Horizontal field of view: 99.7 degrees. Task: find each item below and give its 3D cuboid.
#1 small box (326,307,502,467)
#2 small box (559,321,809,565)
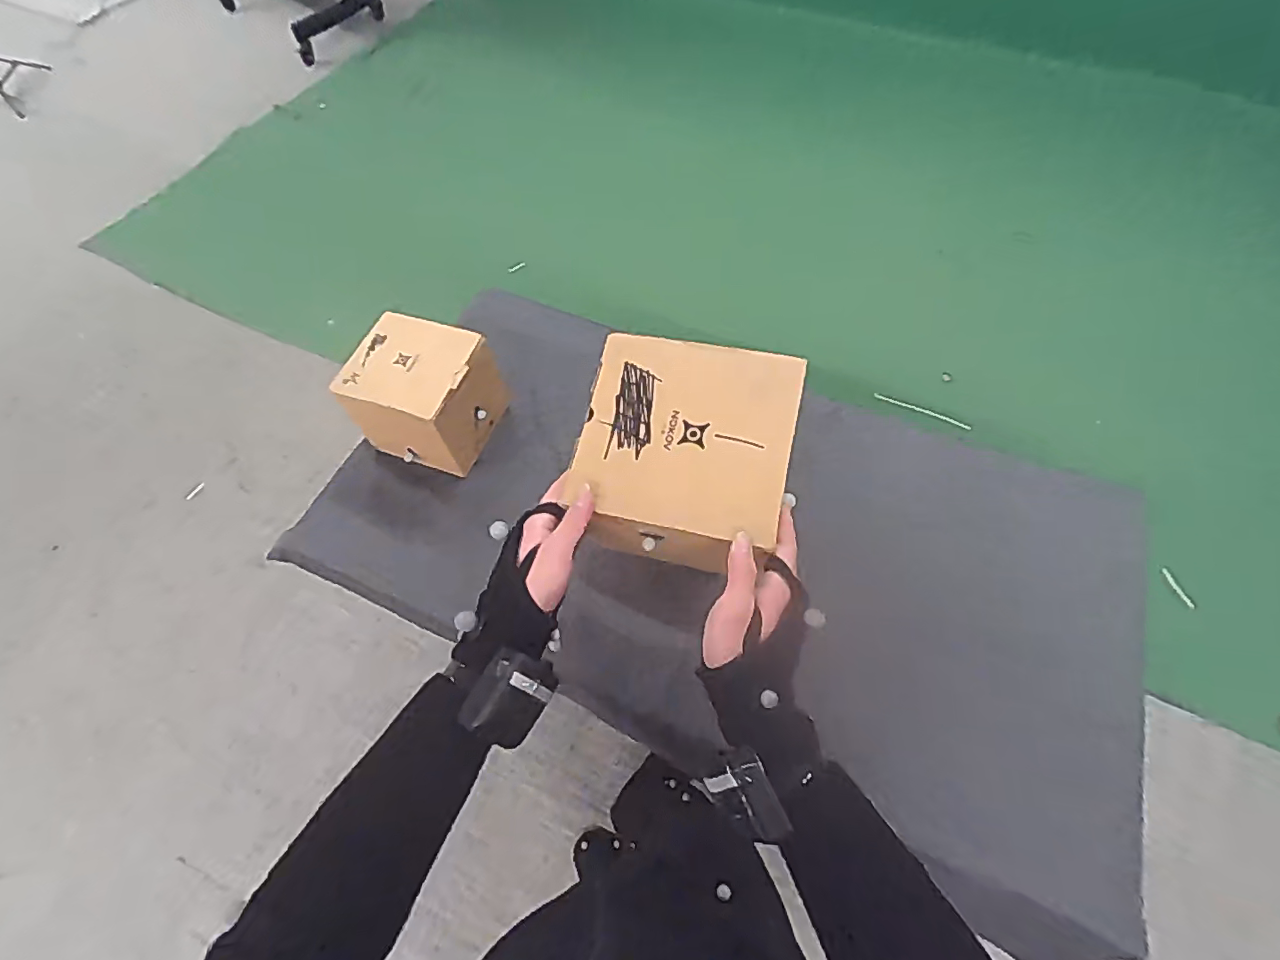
[{"bbox_3d":[-0.344,-0.141,0.867,0.179,0.176,0.168,17,63,9],"label":"small box"},{"bbox_3d":[0.047,-0.024,0.514,0.179,0.176,0.168,12,74,11],"label":"small box"}]
